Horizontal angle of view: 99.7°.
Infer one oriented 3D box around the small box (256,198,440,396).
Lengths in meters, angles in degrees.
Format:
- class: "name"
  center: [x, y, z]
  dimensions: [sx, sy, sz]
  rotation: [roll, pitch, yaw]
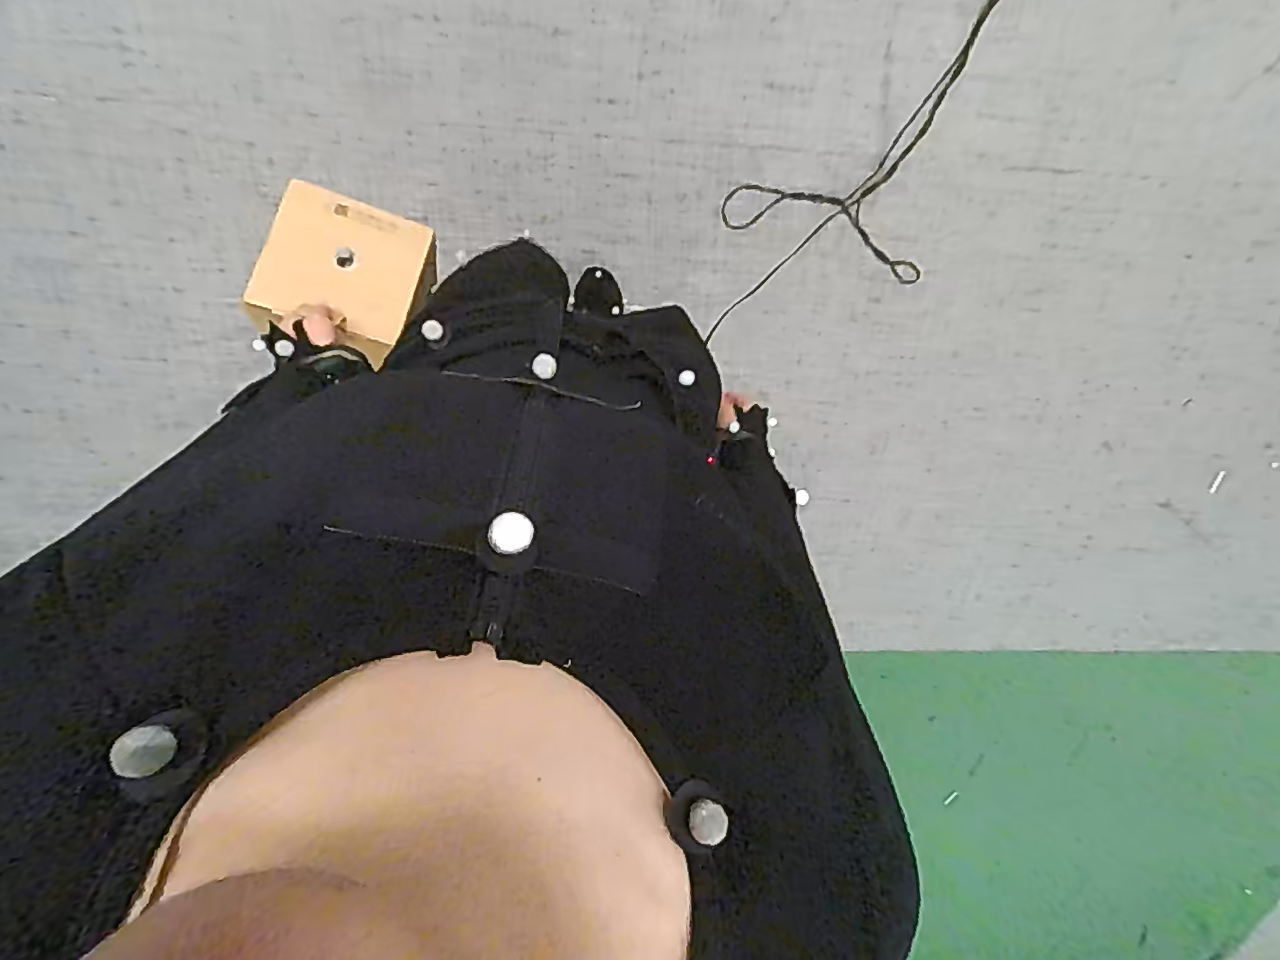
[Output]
- class: "small box"
  center: [-0.373, -0.235, 0.725]
  dimensions: [0.168, 0.179, 0.176]
  rotation: [14, 76, -17]
